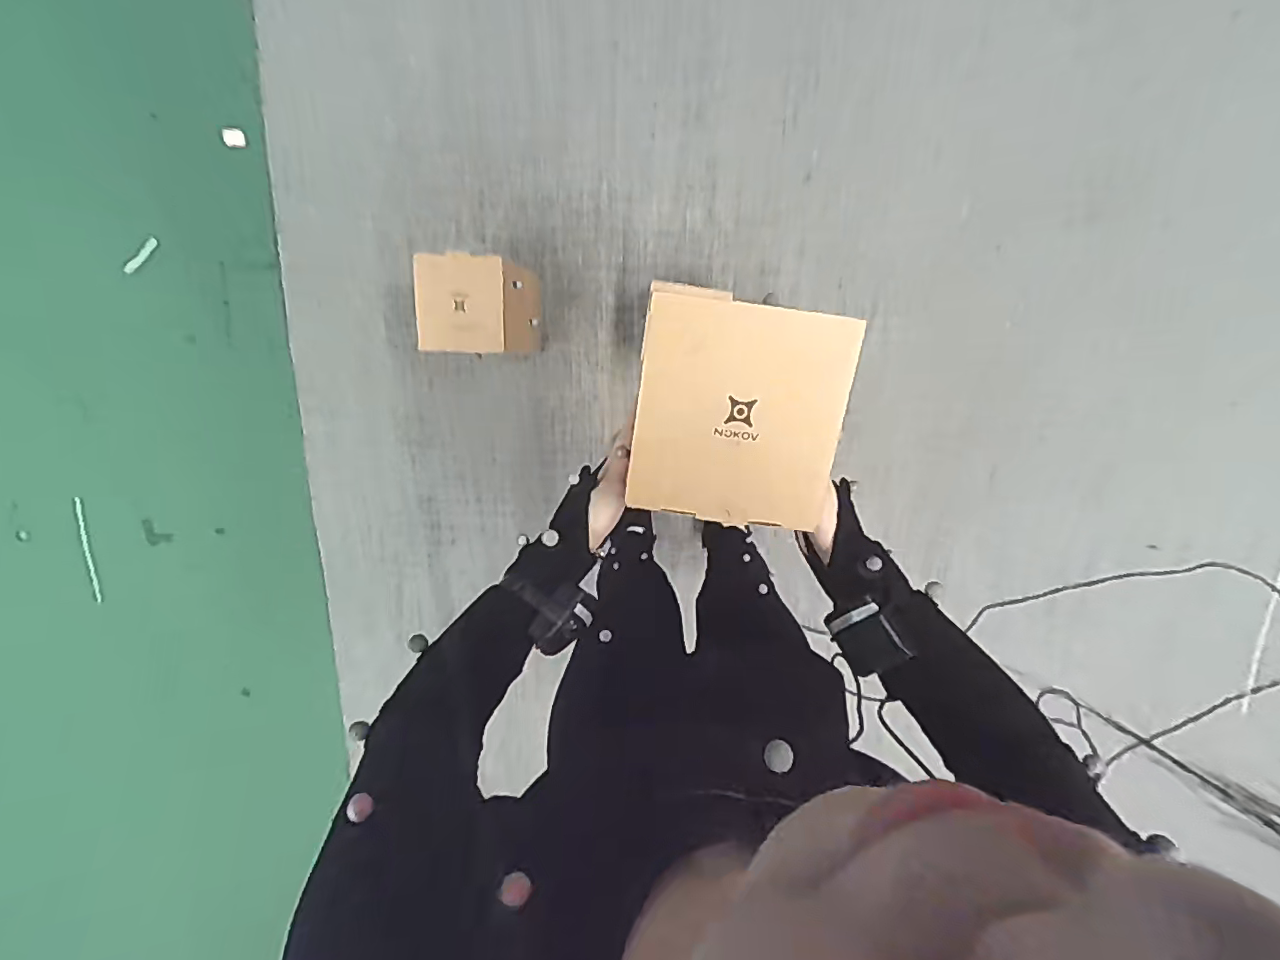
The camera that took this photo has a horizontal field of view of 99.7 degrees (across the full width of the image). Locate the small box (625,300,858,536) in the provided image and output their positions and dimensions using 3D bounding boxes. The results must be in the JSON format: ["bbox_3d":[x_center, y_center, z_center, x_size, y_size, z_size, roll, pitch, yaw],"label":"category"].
[{"bbox_3d":[0.080,-0.067,0.513,0.168,0.176,0.179,7,107,0],"label":"small box"}]

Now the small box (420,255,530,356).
[{"bbox_3d":[-0.322,-0.341,1.082,0.168,0.176,0.179,3,104,3],"label":"small box"}]

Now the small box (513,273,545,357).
[{"bbox_3d":[-0.318,-0.381,1.240,0.168,0.176,0.179,5,104,1],"label":"small box"}]
